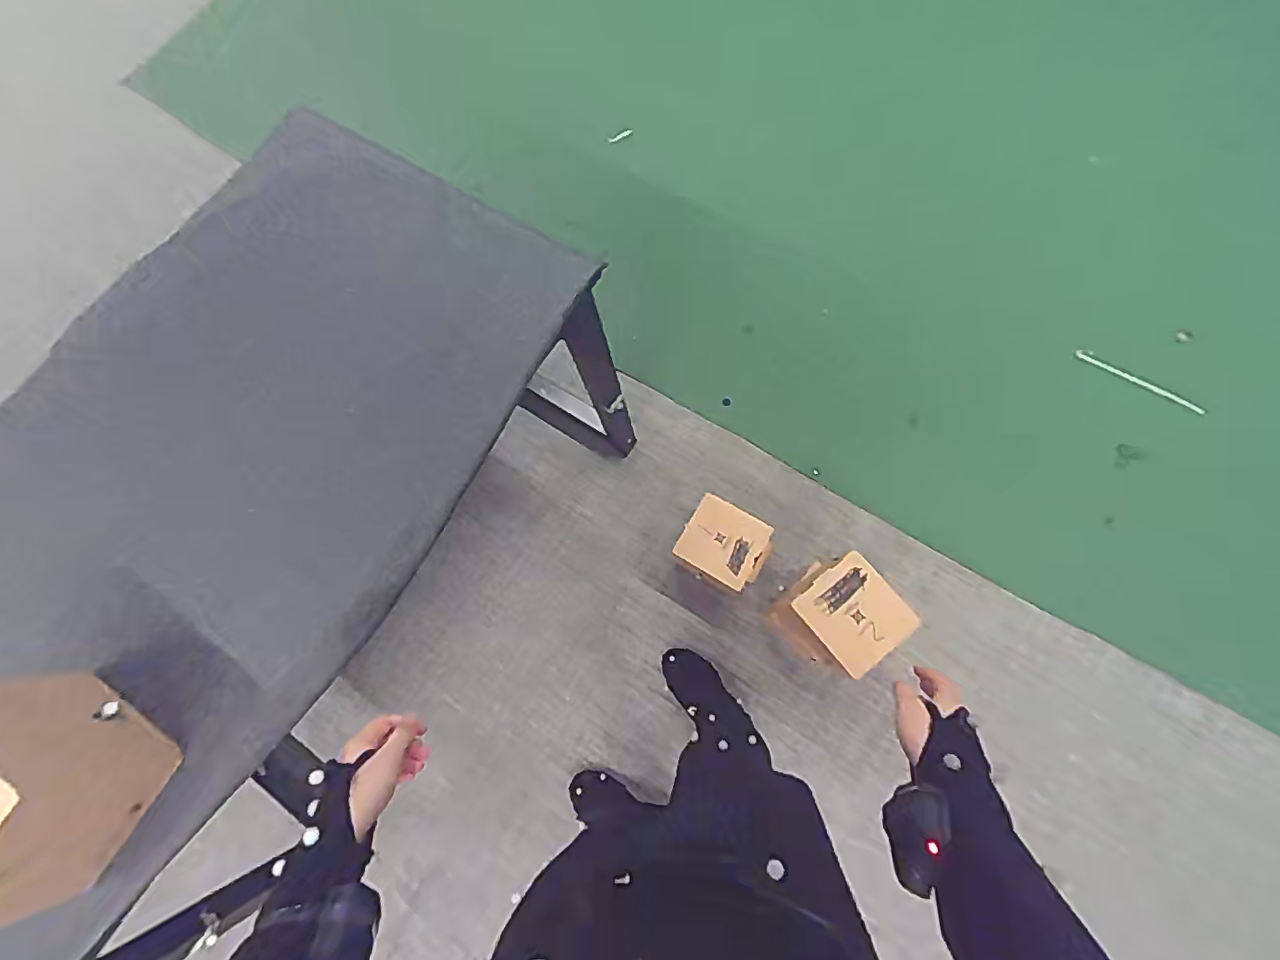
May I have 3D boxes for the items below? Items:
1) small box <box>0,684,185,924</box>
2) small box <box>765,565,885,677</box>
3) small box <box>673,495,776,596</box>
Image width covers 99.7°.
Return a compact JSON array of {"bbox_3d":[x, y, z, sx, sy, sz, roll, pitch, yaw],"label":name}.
[{"bbox_3d":[-0.643,0.328,0.555,0.179,0.176,0.168,30,80,12],"label":"small box"},{"bbox_3d":[0.405,0.312,1.218,0.179,0.176,0.168,40,82,14],"label":"small box"},{"bbox_3d":[0.196,0.161,1.278,0.179,0.176,0.168,30,80,13],"label":"small box"}]
